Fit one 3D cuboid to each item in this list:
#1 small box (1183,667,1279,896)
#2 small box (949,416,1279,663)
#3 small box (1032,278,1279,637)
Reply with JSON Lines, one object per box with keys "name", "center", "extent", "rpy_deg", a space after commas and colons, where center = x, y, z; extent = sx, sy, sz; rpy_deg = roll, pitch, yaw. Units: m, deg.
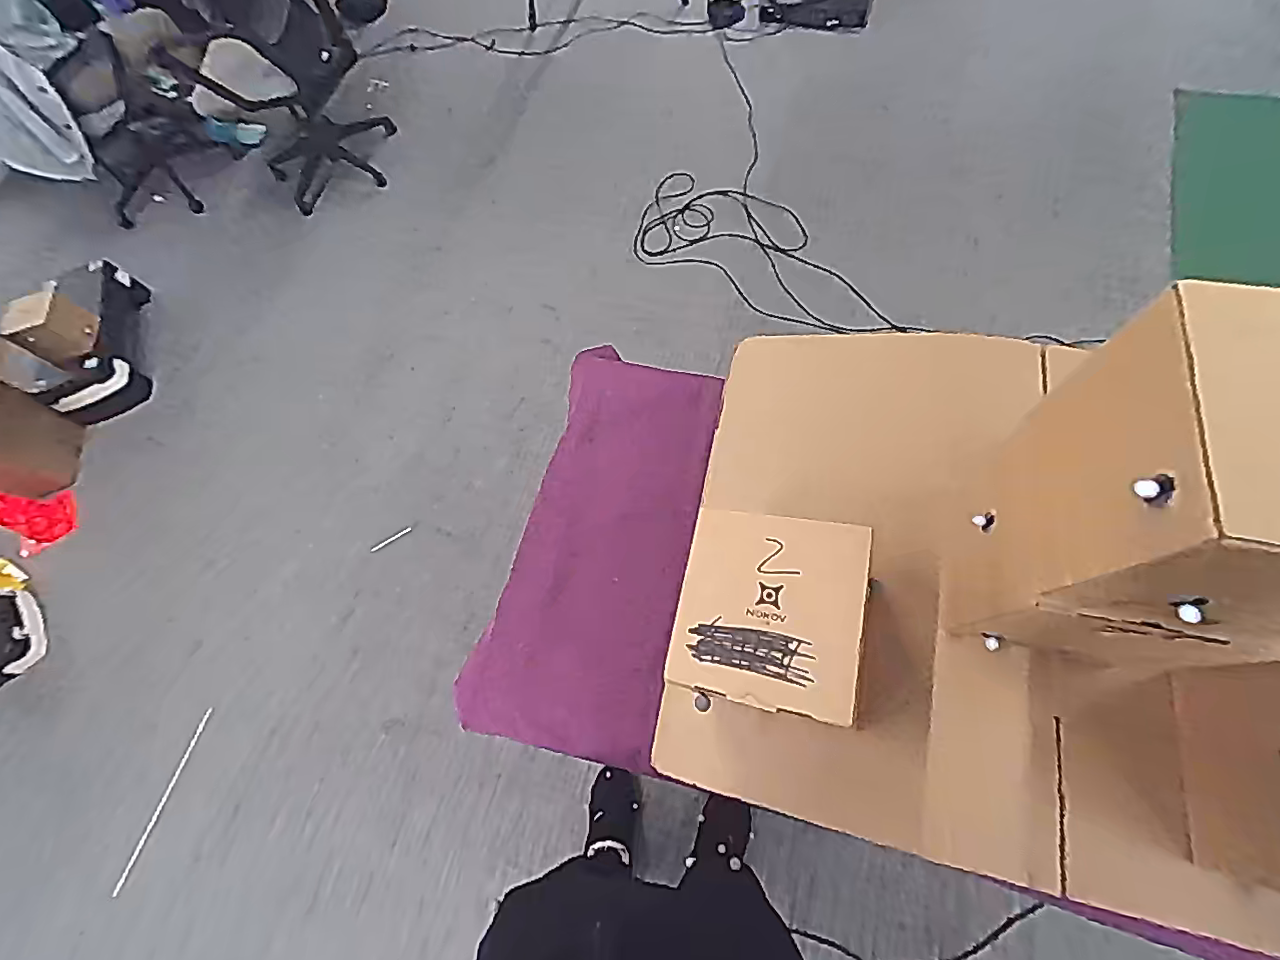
{"name": "small box", "center": [0.584, 0.250, 0.422], "extent": [0.168, 0.176, 0.179], "rpy_deg": [11, 69, 10]}
{"name": "small box", "center": [0.416, 0.066, 0.513], "extent": [0.168, 0.176, 0.179], "rpy_deg": [11, 68, 9]}
{"name": "small box", "center": [0.402, -0.003, 0.368], "extent": [0.168, 0.176, 0.179], "rpy_deg": [10, 69, 9]}
